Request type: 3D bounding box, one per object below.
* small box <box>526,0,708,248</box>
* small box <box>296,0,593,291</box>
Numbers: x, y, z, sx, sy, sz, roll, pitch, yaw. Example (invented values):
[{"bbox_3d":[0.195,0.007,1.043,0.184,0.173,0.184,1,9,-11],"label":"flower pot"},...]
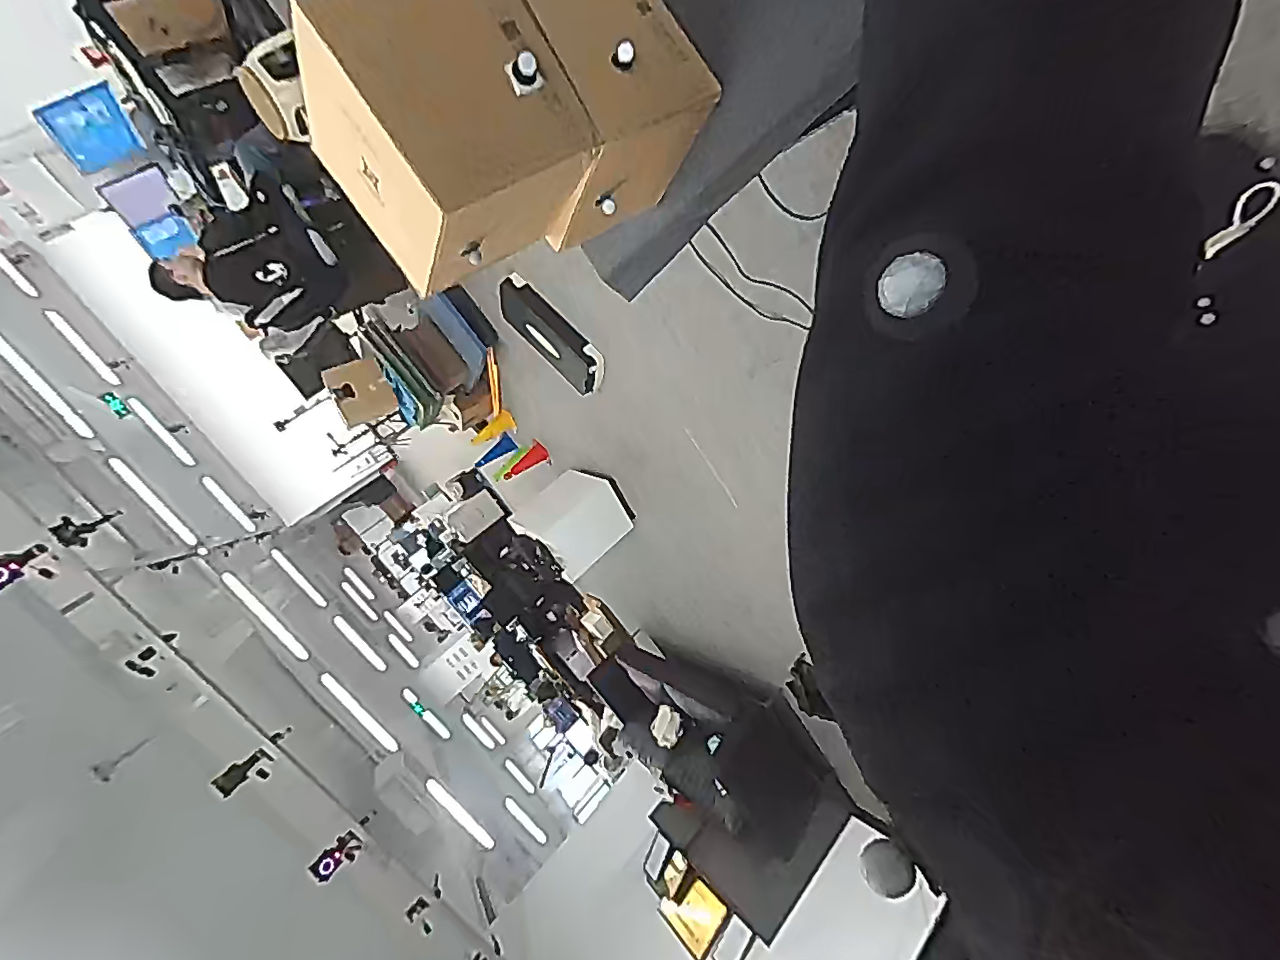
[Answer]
[{"bbox_3d":[-0.054,-0.392,0.570,0.168,0.176,0.179,53,157,-5],"label":"small box"},{"bbox_3d":[-0.169,-0.309,0.490,0.168,0.176,0.179,55,156,-13],"label":"small box"}]
